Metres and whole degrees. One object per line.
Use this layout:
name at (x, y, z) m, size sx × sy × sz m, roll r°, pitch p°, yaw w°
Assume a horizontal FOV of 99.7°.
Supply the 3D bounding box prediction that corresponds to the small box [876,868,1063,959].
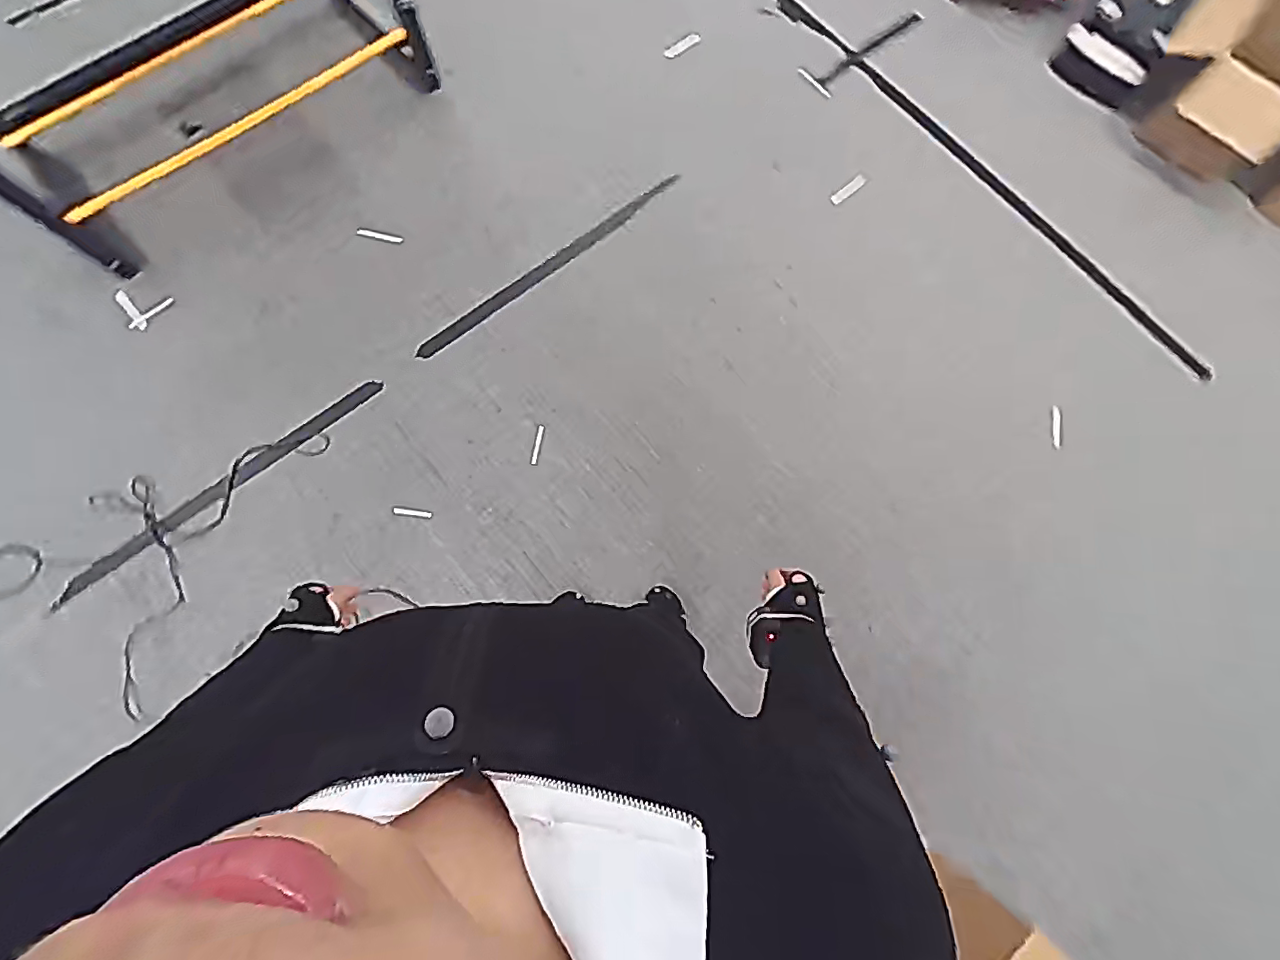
small box at (0.450, 0.657, 0.693) m, size 0.168 × 0.176 × 0.179 m, roll -38°, pitch 79°, yaw -13°
